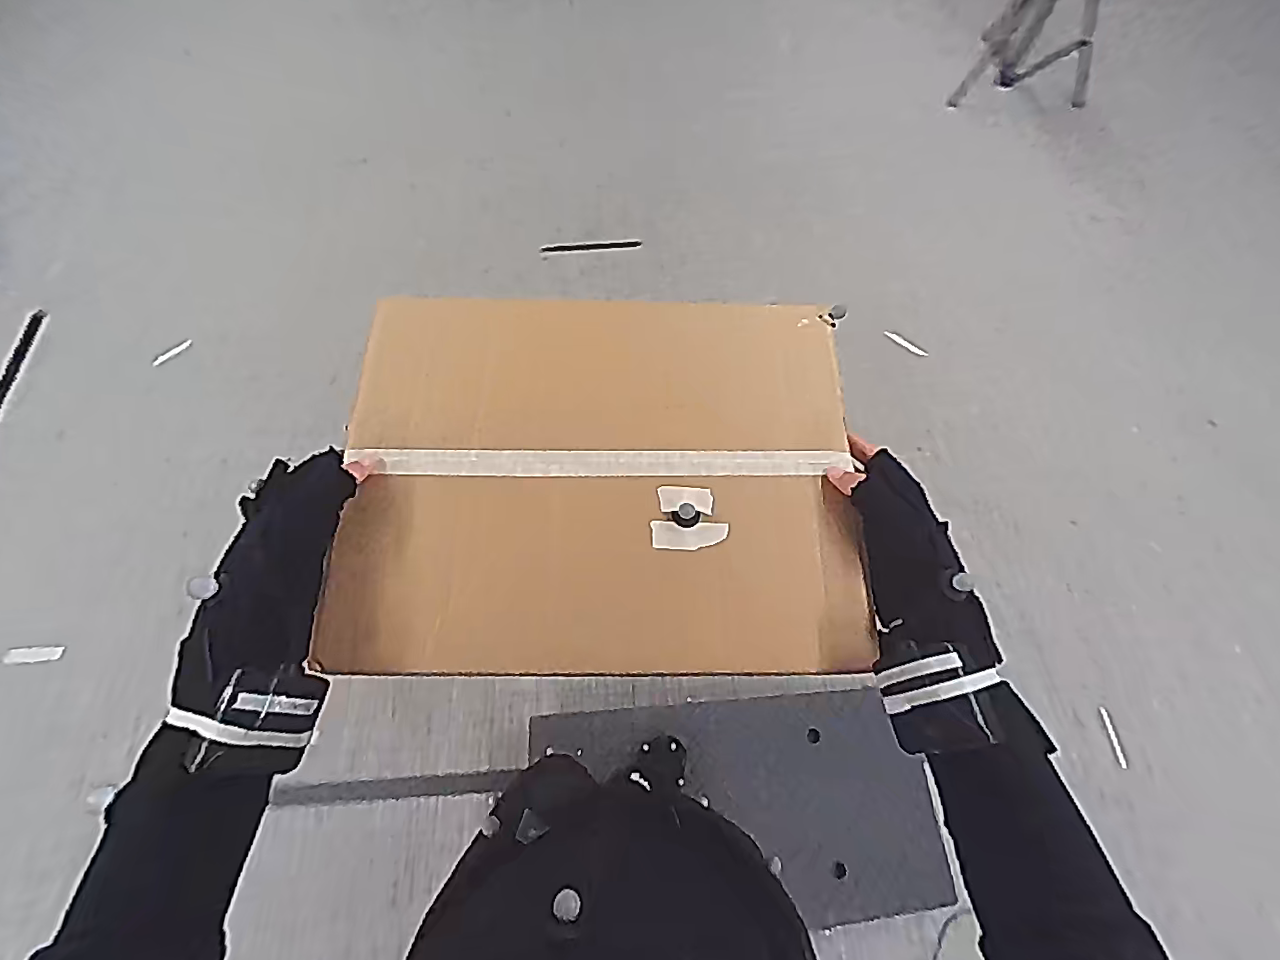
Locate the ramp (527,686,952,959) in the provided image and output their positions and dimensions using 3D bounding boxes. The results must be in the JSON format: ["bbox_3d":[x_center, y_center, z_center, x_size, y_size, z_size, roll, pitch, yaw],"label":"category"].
[{"bbox_3d":[0.240,0.784,1.289,0.991,0.206,0.509,-6,65,-3],"label":"ramp"}]

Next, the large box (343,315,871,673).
[{"bbox_3d":[-0.028,0.044,0.592,0.408,0.320,0.320,1,71,-2],"label":"large box"}]
